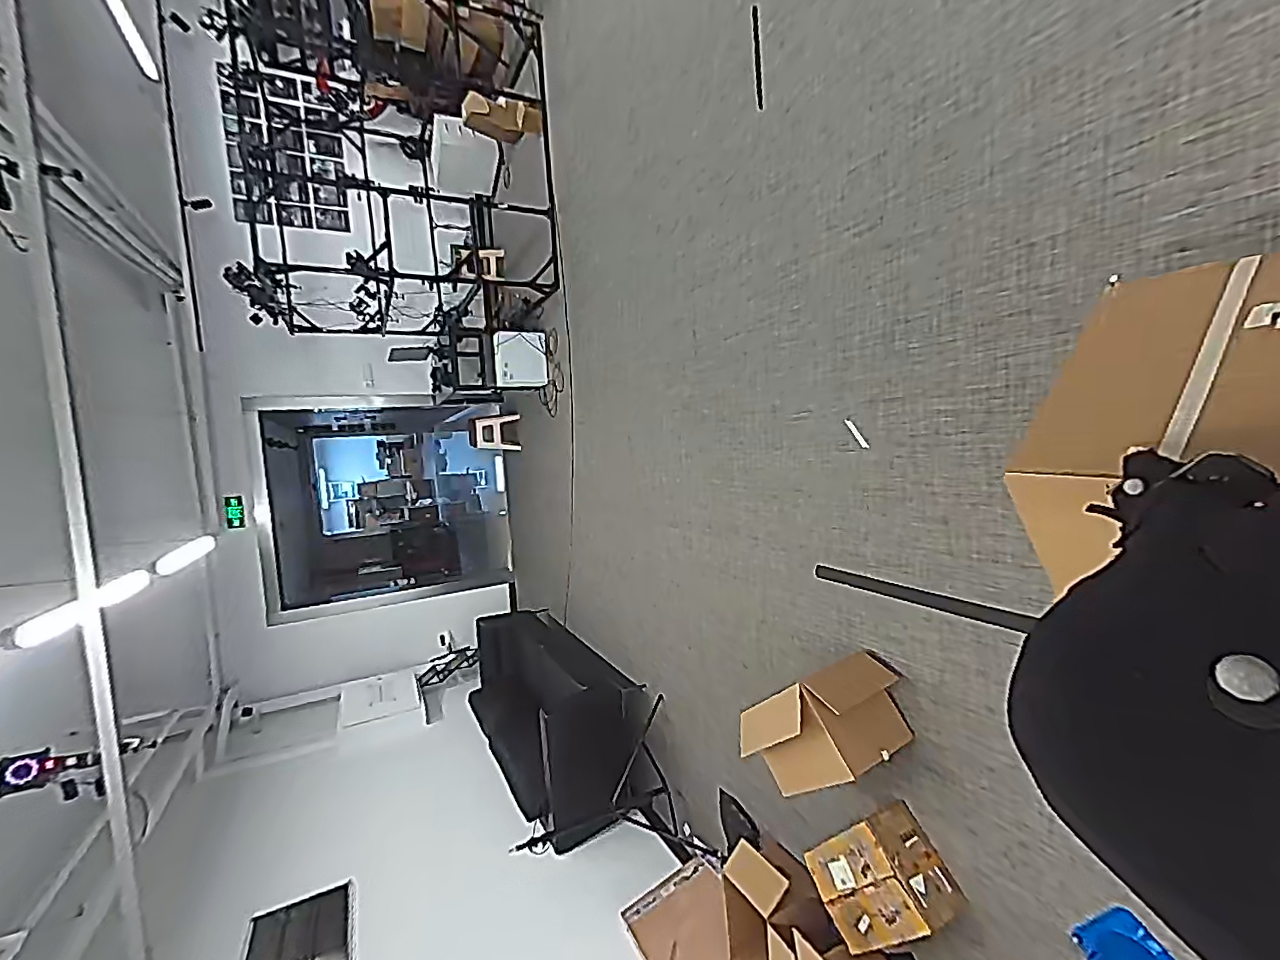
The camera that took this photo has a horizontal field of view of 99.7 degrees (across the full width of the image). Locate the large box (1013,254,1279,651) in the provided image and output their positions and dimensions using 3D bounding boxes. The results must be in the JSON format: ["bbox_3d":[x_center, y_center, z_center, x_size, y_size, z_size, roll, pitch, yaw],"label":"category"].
[{"bbox_3d":[0.773,-0.040,0.708,0.320,0.408,0.320,50,159,-26],"label":"large box"}]
